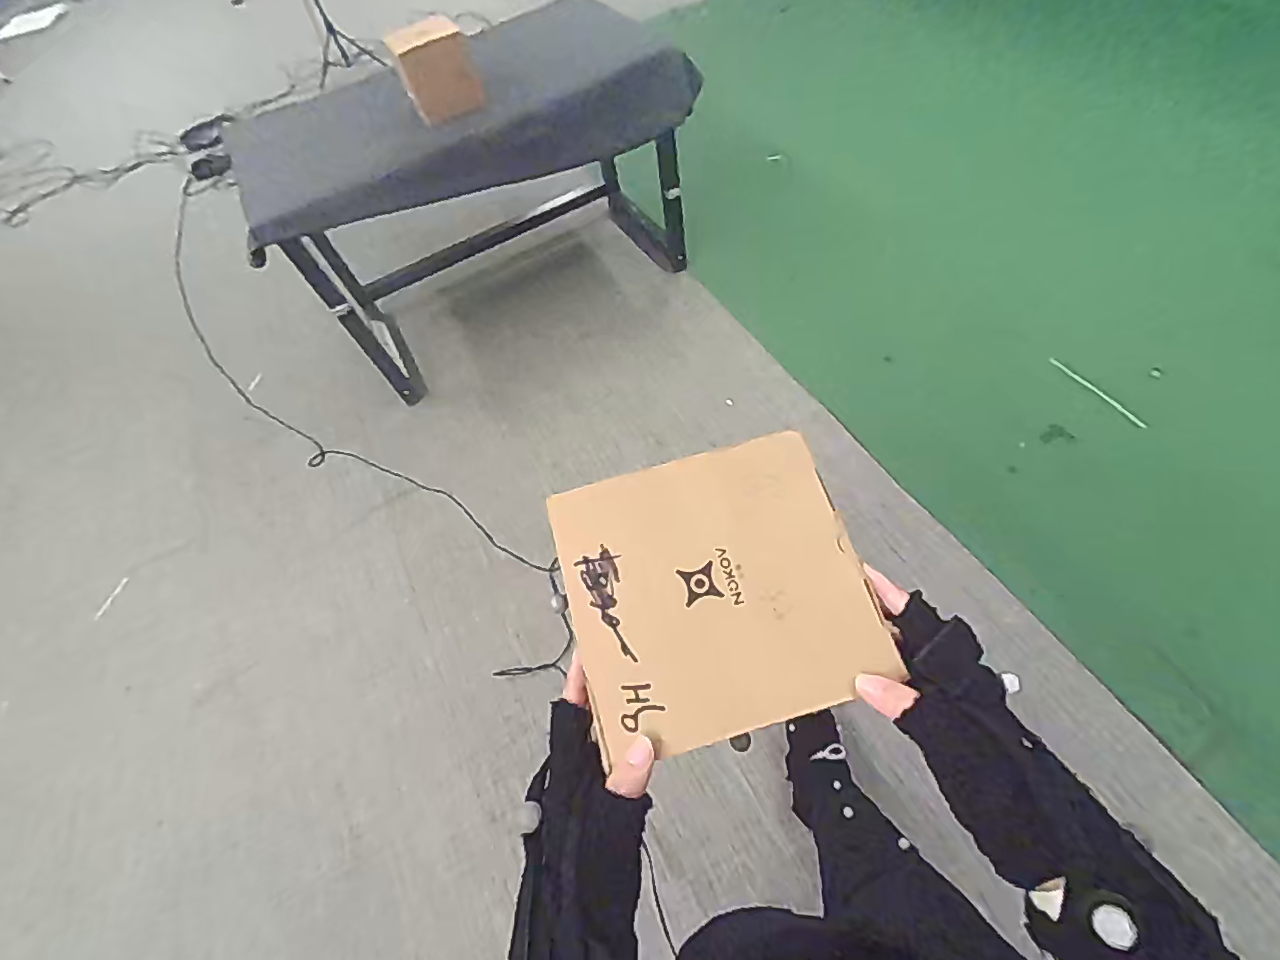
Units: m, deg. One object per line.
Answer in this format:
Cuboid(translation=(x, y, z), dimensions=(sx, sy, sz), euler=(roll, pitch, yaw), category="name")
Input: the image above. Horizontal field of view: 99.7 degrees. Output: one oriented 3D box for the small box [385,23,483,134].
Cuboid(translation=(-0.539, -1.067, 1.440), dimensions=(0.179, 0.176, 0.168), euler=(-31, 57, -8), category="small box")
